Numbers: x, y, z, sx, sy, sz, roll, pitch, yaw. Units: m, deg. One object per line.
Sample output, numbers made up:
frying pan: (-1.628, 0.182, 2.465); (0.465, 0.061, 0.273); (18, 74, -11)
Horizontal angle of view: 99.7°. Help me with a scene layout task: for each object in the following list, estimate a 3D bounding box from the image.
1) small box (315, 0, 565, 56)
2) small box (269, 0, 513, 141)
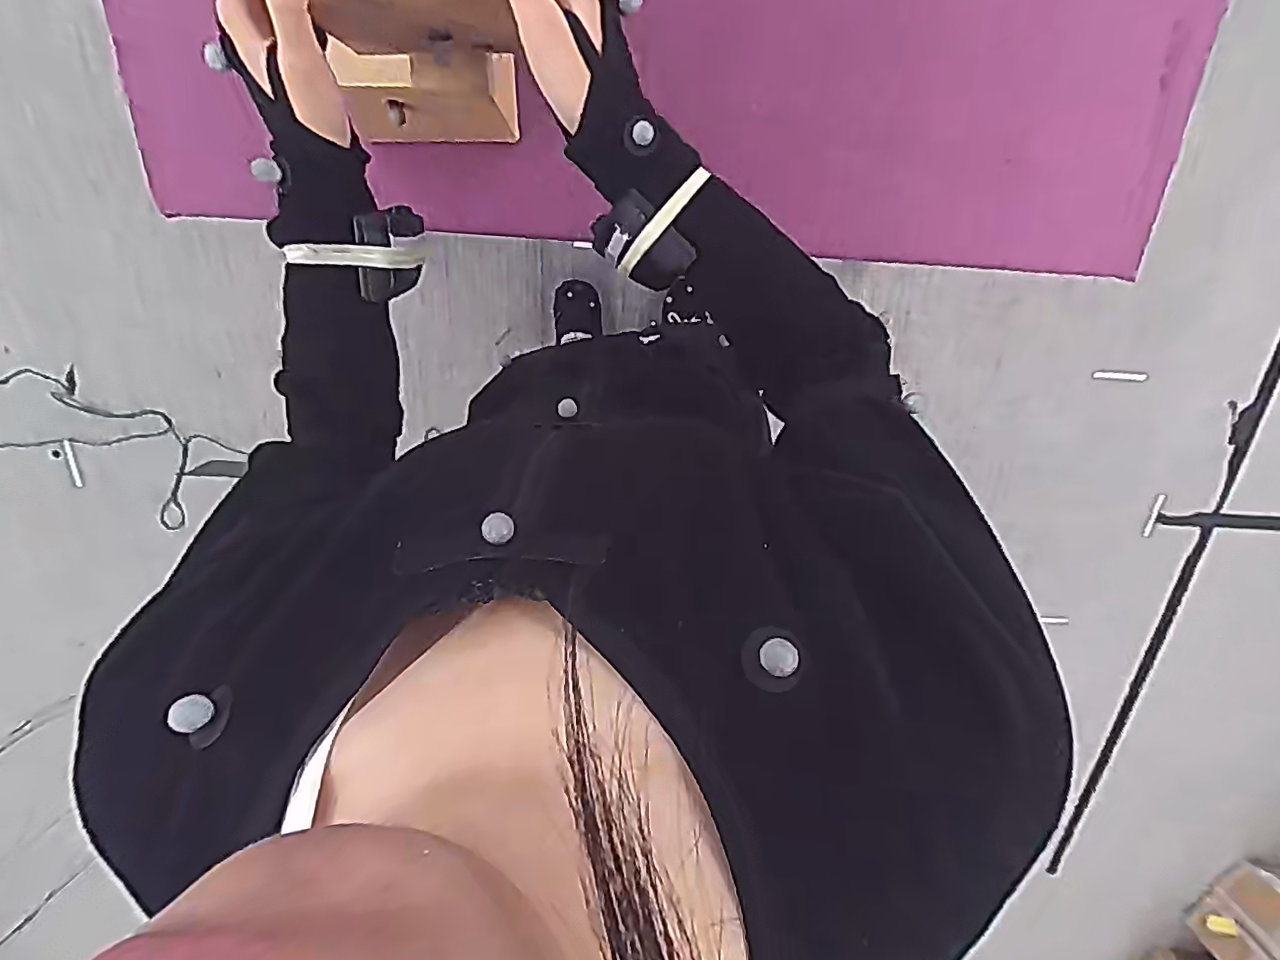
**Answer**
small box: (-0.135, -0.383, 0.321); (0.168, 0.176, 0.179); (-3, 117, -3)
small box: (-0.222, -0.440, 0.516); (0.179, 0.176, 0.168); (-1, 109, -2)
